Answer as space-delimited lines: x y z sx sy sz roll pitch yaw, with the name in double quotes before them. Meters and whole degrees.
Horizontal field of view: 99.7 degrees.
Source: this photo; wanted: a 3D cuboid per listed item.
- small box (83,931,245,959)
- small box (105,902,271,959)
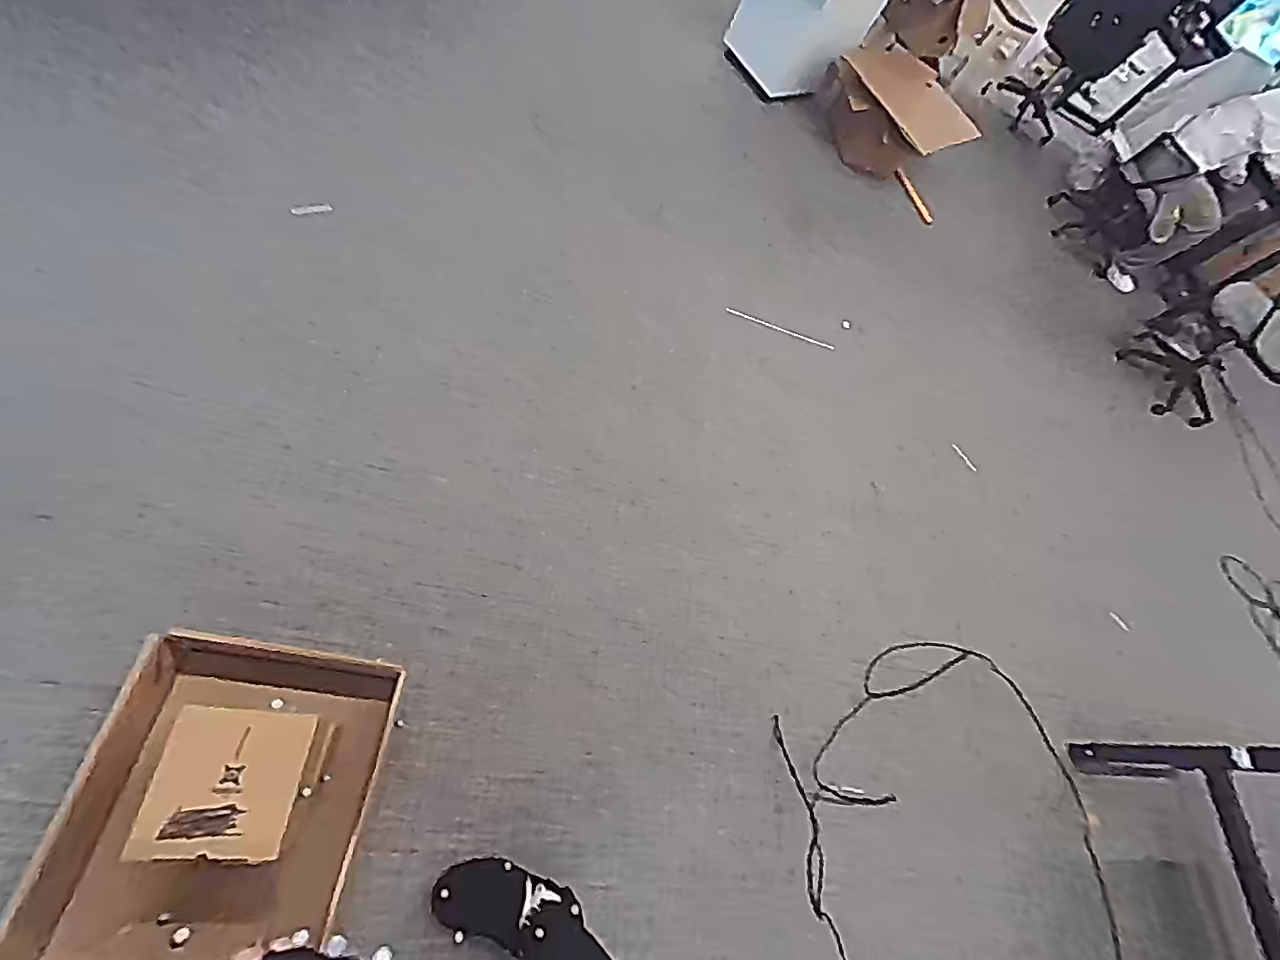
"small box" -0.599 0.659 0.634 0.168 0.176 0.179 15 60 -16
"small box" -0.664 0.725 0.770 0.179 0.176 0.168 16 61 -16
